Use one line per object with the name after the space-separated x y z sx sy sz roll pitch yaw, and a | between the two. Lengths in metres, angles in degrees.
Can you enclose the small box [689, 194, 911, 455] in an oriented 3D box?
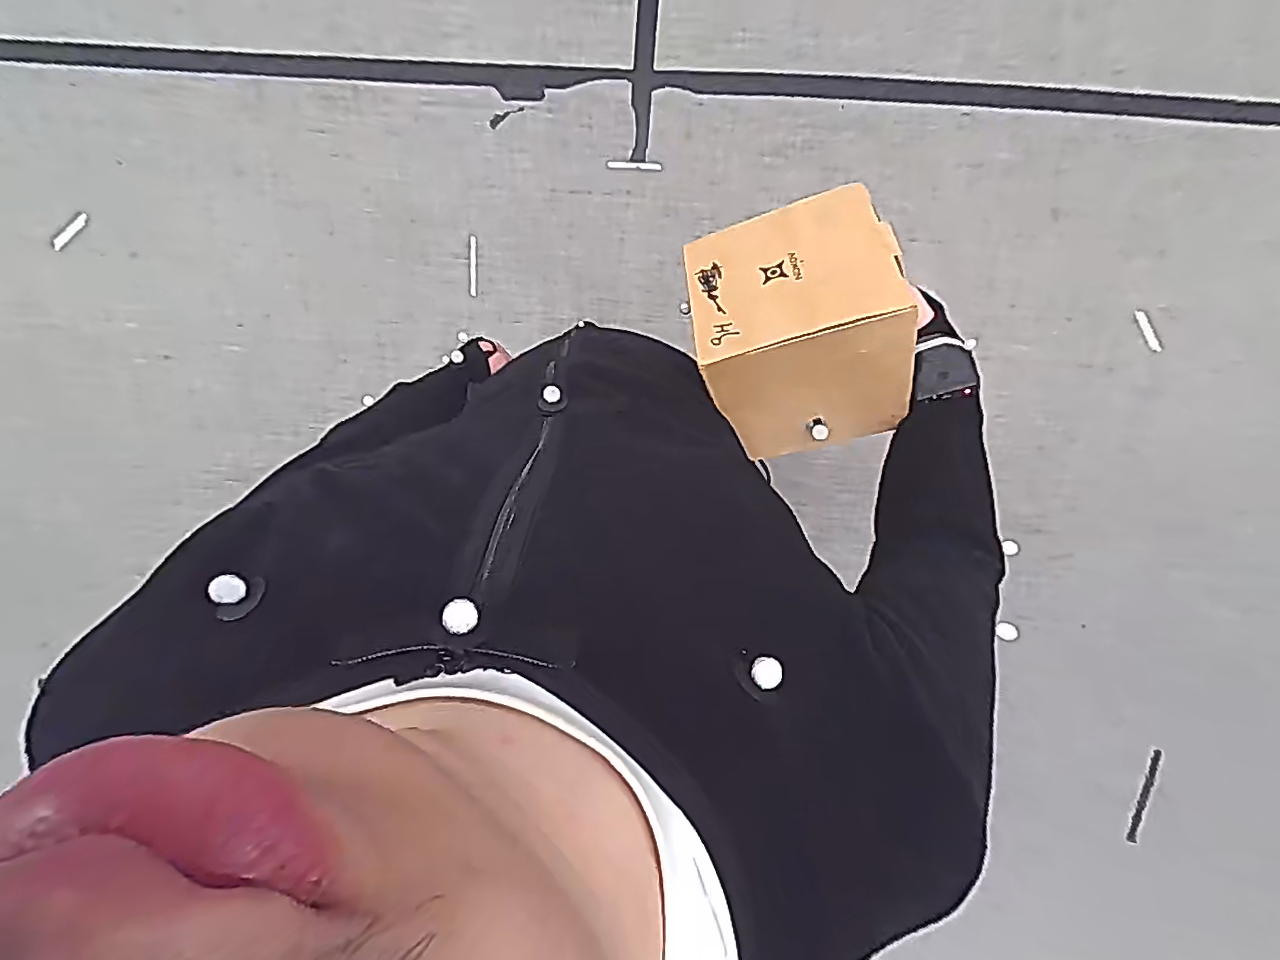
0.160 -0.148 0.561 0.179 0.168 0.176 -13 146 16 | small box
